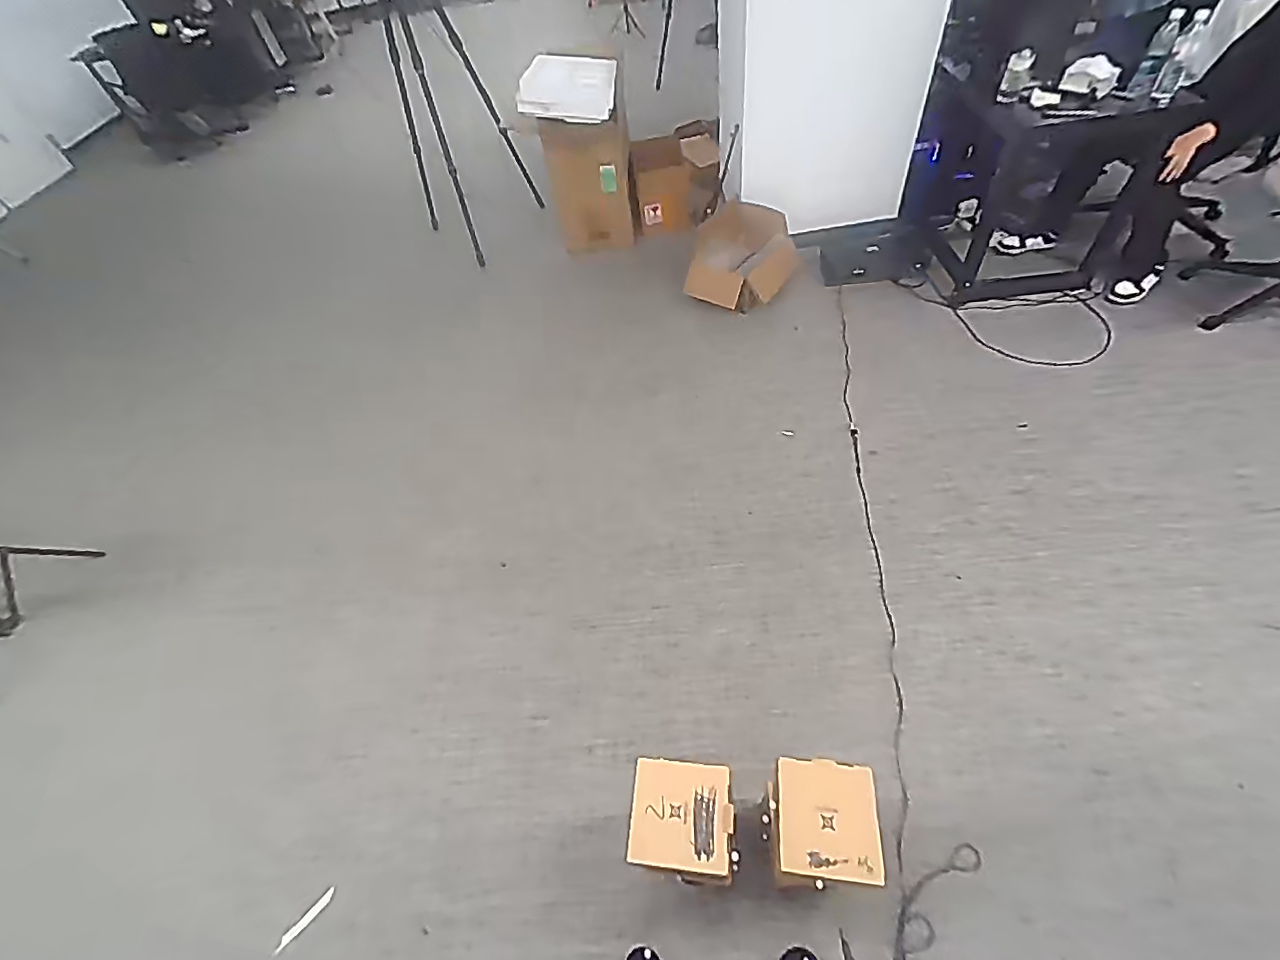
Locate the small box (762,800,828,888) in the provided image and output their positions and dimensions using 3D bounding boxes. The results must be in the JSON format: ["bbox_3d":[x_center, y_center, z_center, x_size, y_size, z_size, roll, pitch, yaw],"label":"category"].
[{"bbox_3d":[0.378,0.830,1.247,0.168,0.176,0.179,-6,52,6],"label":"small box"}]

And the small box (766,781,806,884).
[{"bbox_3d":[0.358,0.732,1.121,0.179,0.176,0.168,-5,51,7],"label":"small box"}]

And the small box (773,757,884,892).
[{"bbox_3d":[0.334,0.632,0.992,0.168,0.176,0.179,1,51,11],"label":"small box"}]

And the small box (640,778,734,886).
[{"bbox_3d":[0.106,0.746,1.145,0.179,0.176,0.168,1,52,11],"label":"small box"}]
